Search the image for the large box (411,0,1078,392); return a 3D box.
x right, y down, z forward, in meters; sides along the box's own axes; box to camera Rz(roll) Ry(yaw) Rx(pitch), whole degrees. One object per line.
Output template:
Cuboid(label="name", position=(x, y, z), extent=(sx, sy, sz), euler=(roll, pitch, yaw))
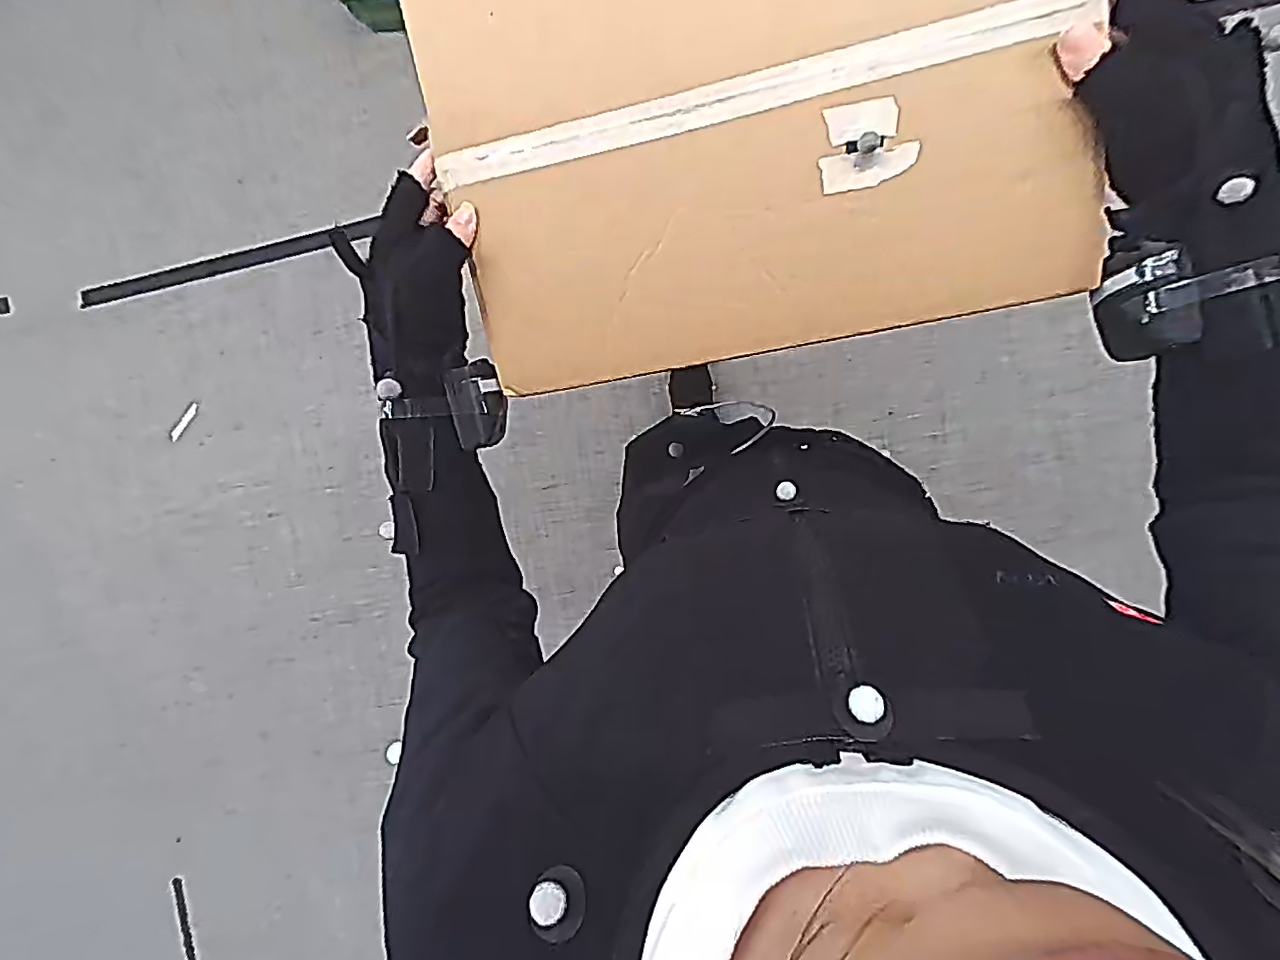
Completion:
Cuboid(label="large box", position=(0.078, -0.285, 0.492), extent=(0.408, 0.320, 0.320), euler=(-10, 105, 8))
